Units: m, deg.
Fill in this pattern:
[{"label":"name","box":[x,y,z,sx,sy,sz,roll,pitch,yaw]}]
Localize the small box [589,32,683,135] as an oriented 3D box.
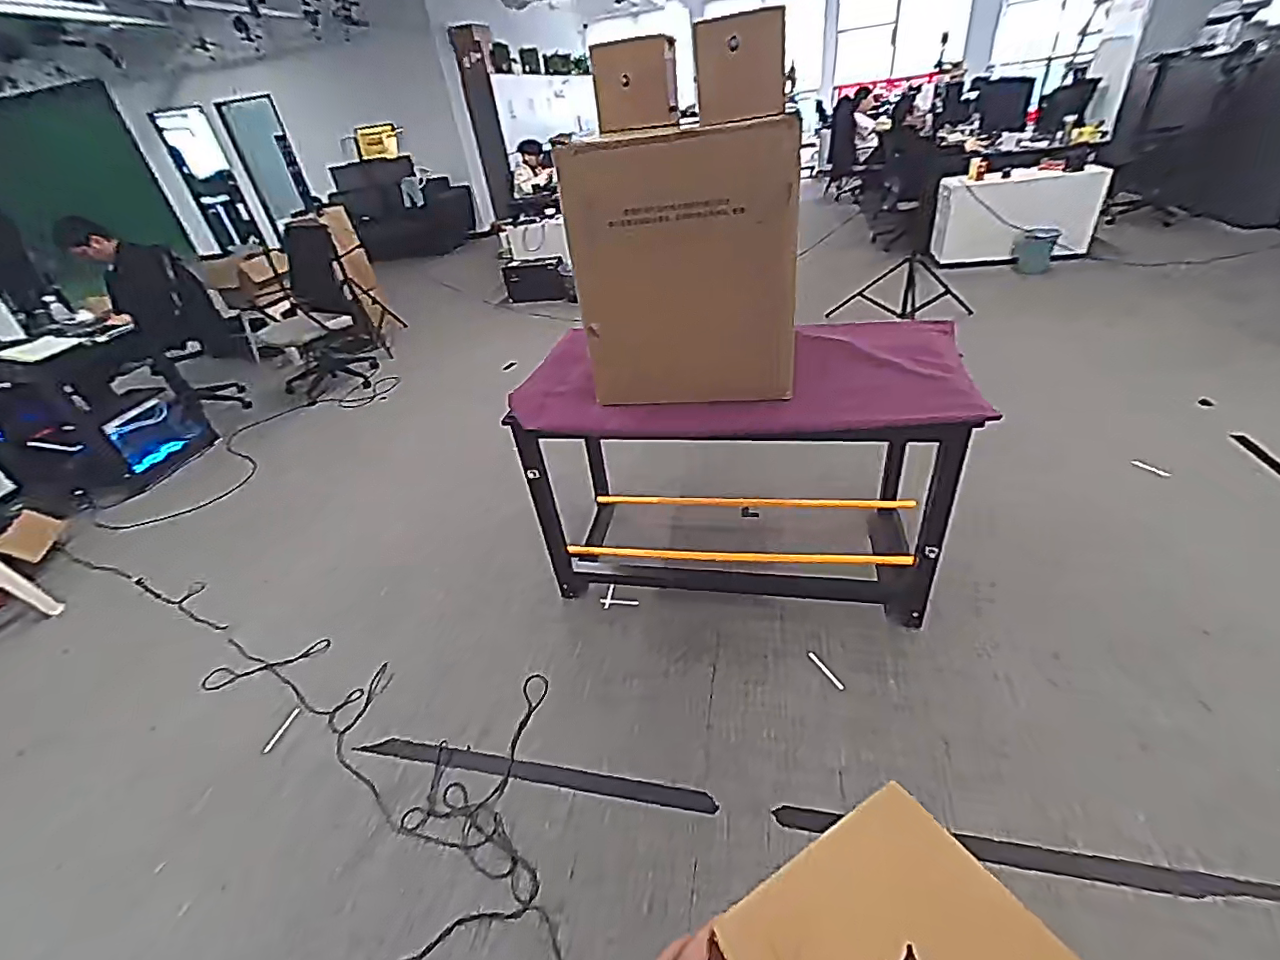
[{"label":"small box","box":[0.000,-0.935,1.282,0.179,0.176,0.168,2,35,17]}]
